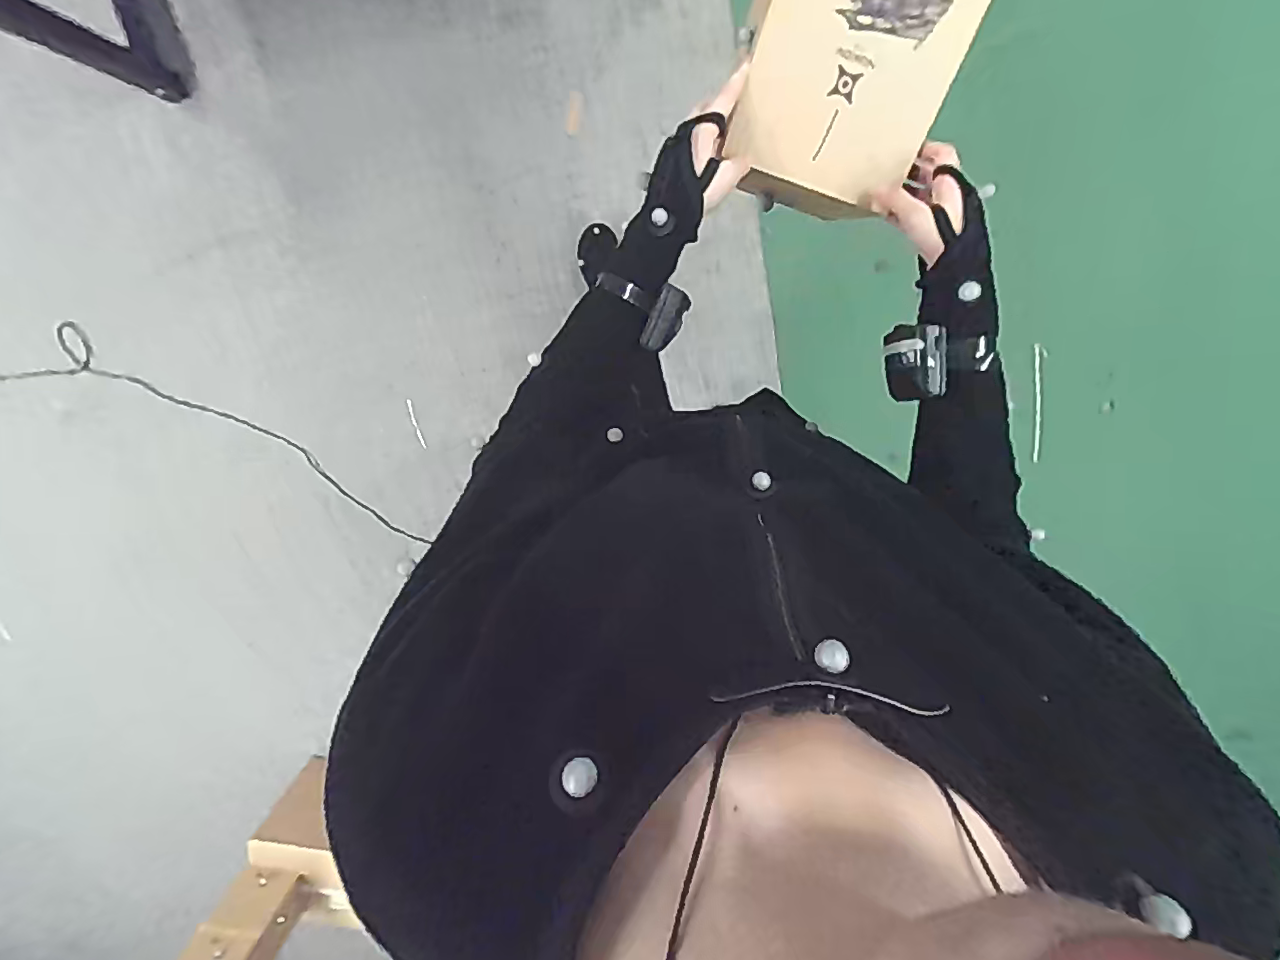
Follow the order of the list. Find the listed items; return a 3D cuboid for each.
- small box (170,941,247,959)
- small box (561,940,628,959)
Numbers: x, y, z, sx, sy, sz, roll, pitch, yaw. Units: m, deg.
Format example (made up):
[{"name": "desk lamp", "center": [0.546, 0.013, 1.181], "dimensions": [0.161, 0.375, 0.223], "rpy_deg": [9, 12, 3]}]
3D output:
[{"name": "small box", "center": [-1.104, 1.296, 1.332], "dimensions": [0.168, 0.176, 0.179], "rpy_deg": [7, 106, -1]}, {"name": "small box", "center": [-0.111, 1.324, 1.373], "dimensions": [0.168, 0.176, 0.179], "rpy_deg": [-11, 105, 4]}]
